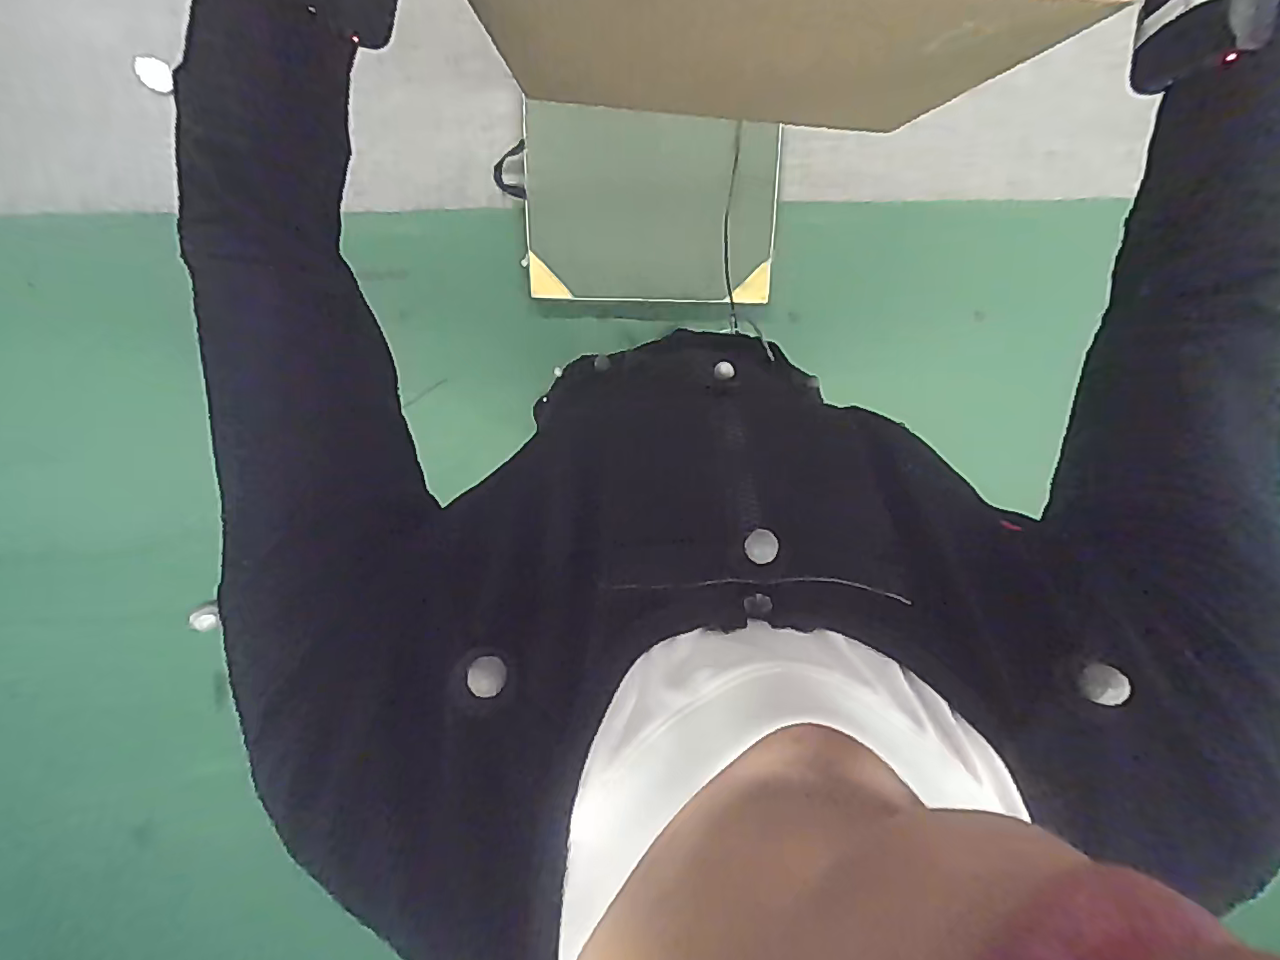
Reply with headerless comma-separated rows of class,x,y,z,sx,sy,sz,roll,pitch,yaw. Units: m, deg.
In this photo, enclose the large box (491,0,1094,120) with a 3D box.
large box,0.094,-0.490,0.391,0.408,0.320,0.320,3,112,-4
